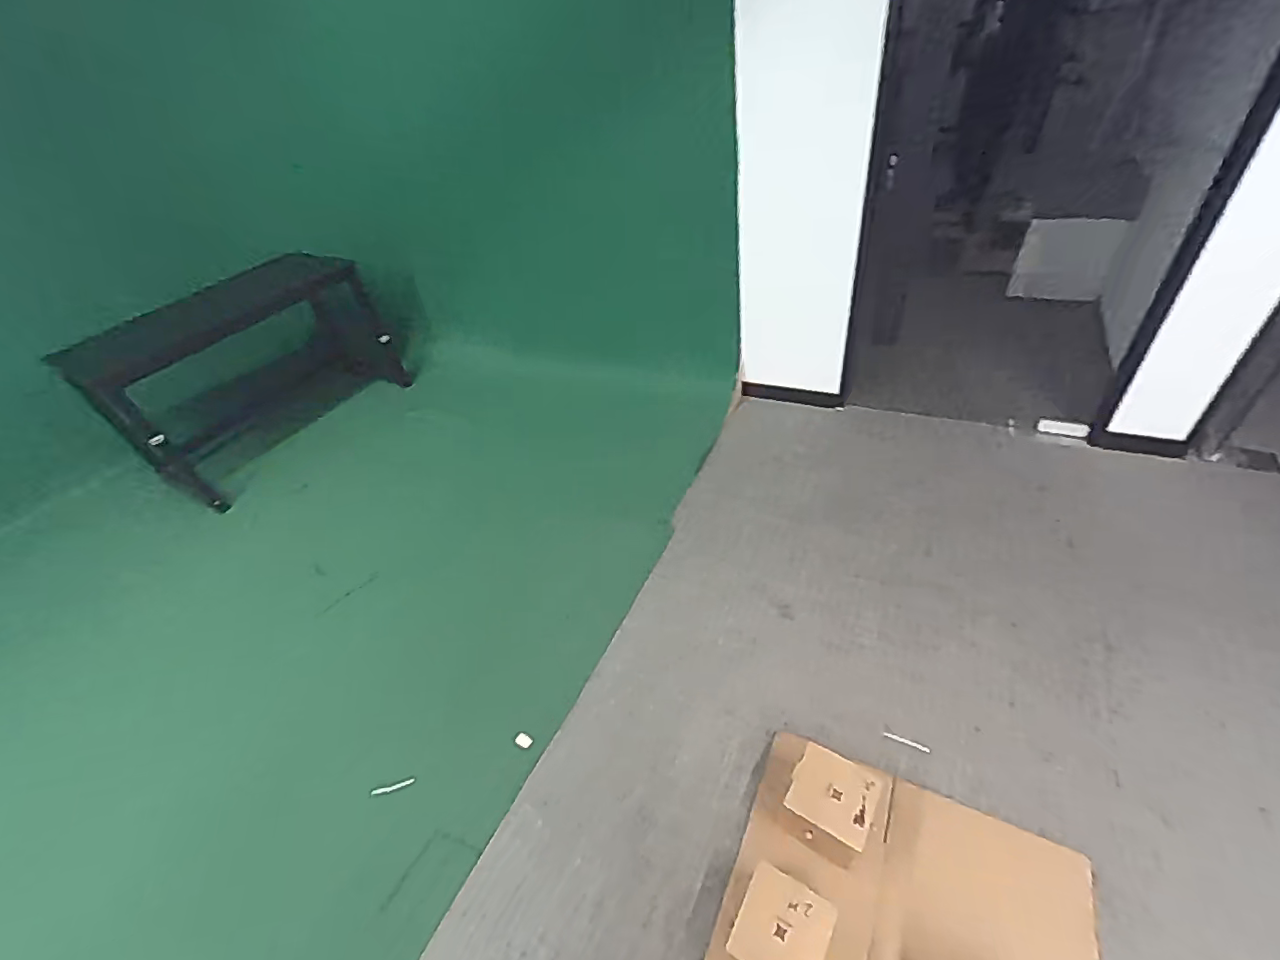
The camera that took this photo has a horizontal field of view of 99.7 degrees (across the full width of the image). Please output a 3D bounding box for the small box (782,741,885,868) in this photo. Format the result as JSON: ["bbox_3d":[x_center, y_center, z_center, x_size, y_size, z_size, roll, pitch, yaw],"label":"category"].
[{"bbox_3d":[0.438,0.749,1.246,0.179,0.176,0.168,20,49,29],"label":"small box"}]

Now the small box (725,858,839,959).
[{"bbox_3d":[0.284,0.918,1.088,0.168,0.176,0.179,19,49,28],"label":"small box"}]
